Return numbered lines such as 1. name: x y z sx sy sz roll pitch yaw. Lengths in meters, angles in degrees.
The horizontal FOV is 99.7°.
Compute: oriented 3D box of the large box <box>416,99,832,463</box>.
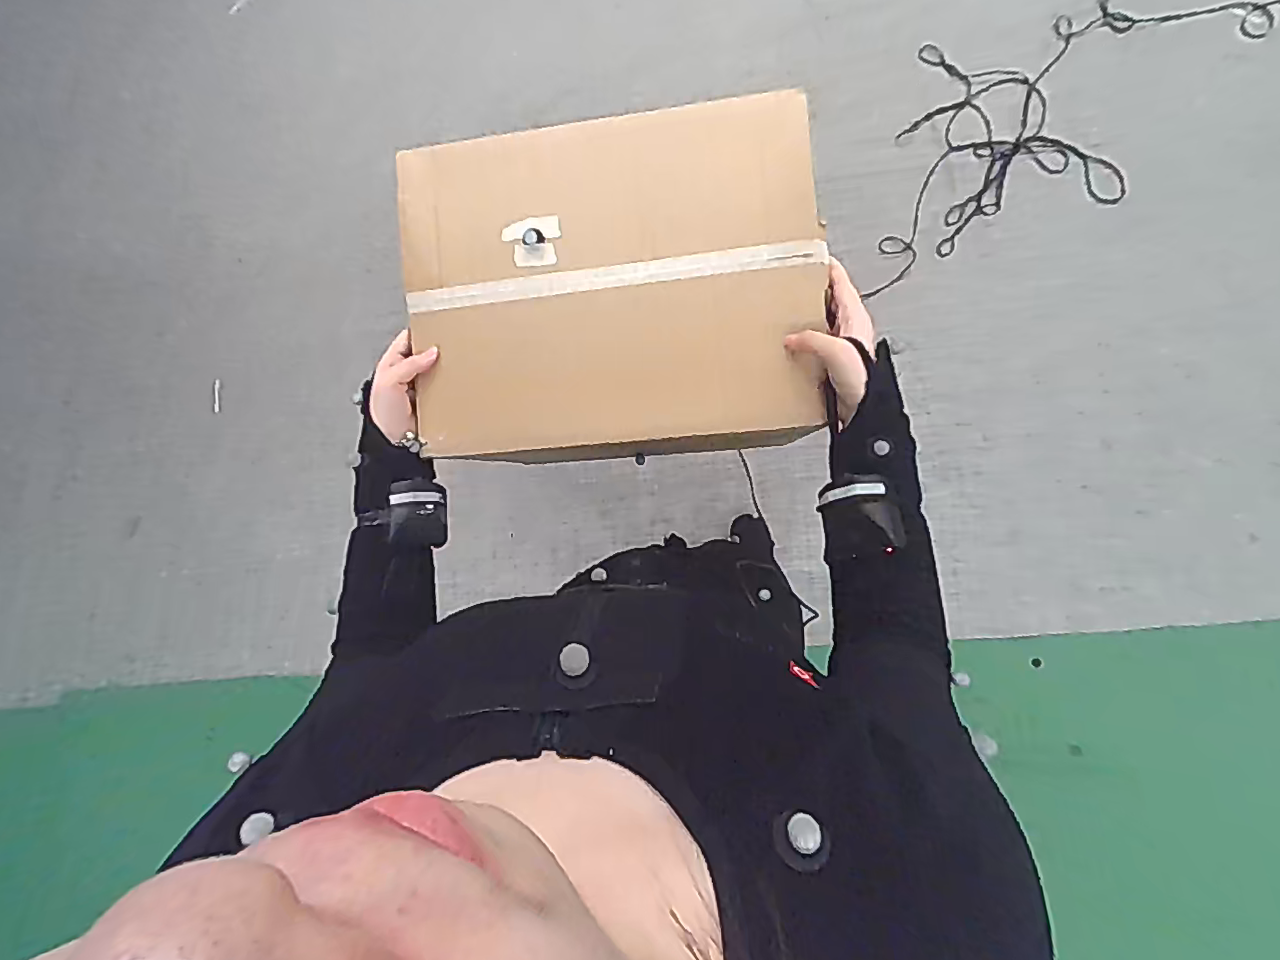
1. large box: -0.004 -0.193 0.682 0.408 0.320 0.320 -4 89 8
